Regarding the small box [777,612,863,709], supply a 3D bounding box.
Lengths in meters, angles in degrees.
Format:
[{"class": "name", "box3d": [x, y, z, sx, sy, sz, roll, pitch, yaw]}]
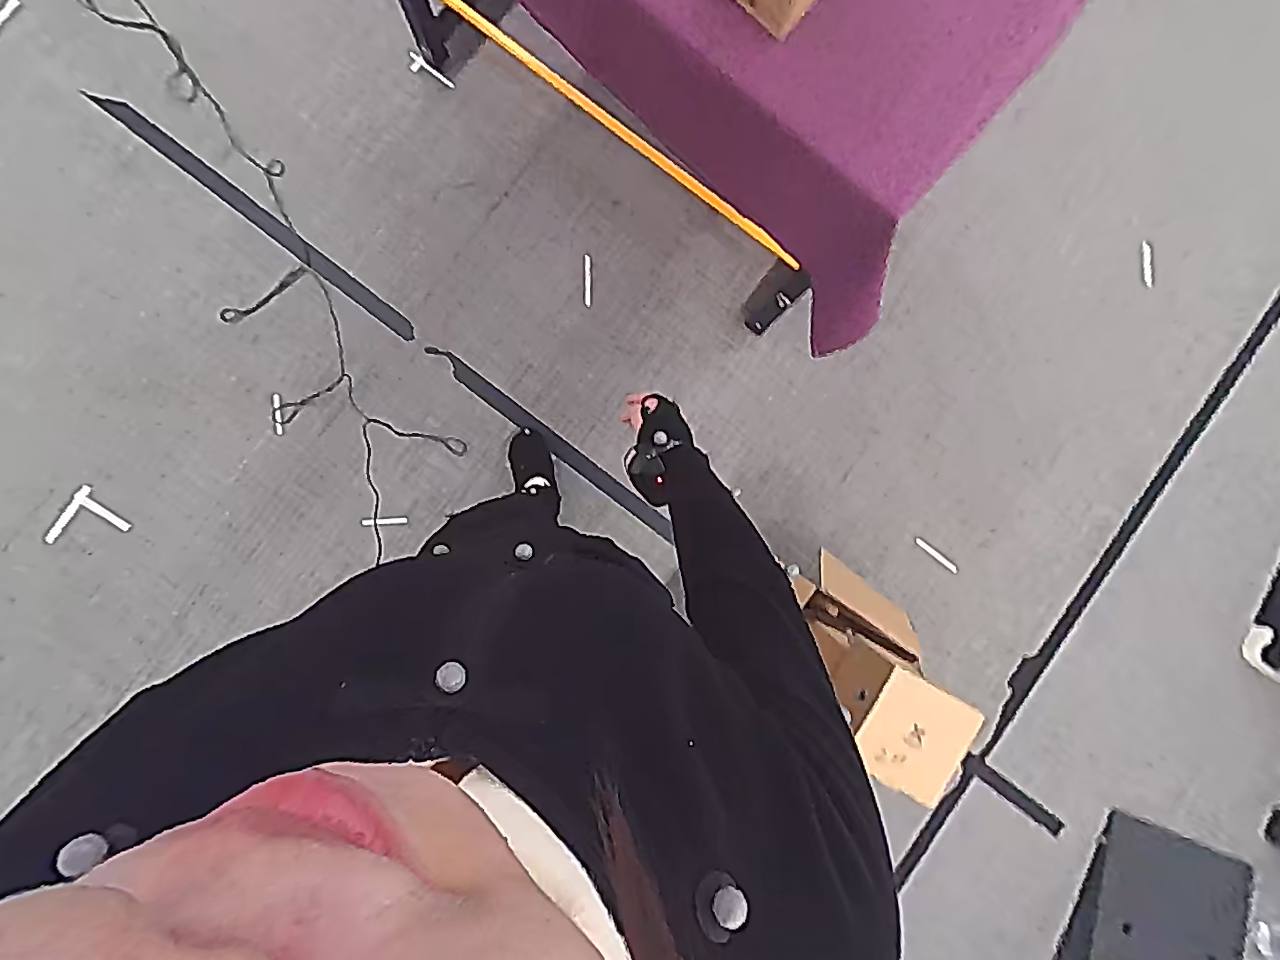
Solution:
[{"class": "small box", "box3d": [0.439, 0.431, 1.276, 0.168, 0.176, 0.179, 16, 92, 0]}]

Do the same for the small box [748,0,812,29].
[{"class": "small box", "box3d": [0.205, -0.762, 0.707, 0.168, 0.176, 0.179, 41, 86, -3]}]

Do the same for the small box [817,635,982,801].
[{"class": "small box", "box3d": [0.438, 0.401, 0.946, 0.168, 0.176, 0.179, 30, 91, 1]}]
